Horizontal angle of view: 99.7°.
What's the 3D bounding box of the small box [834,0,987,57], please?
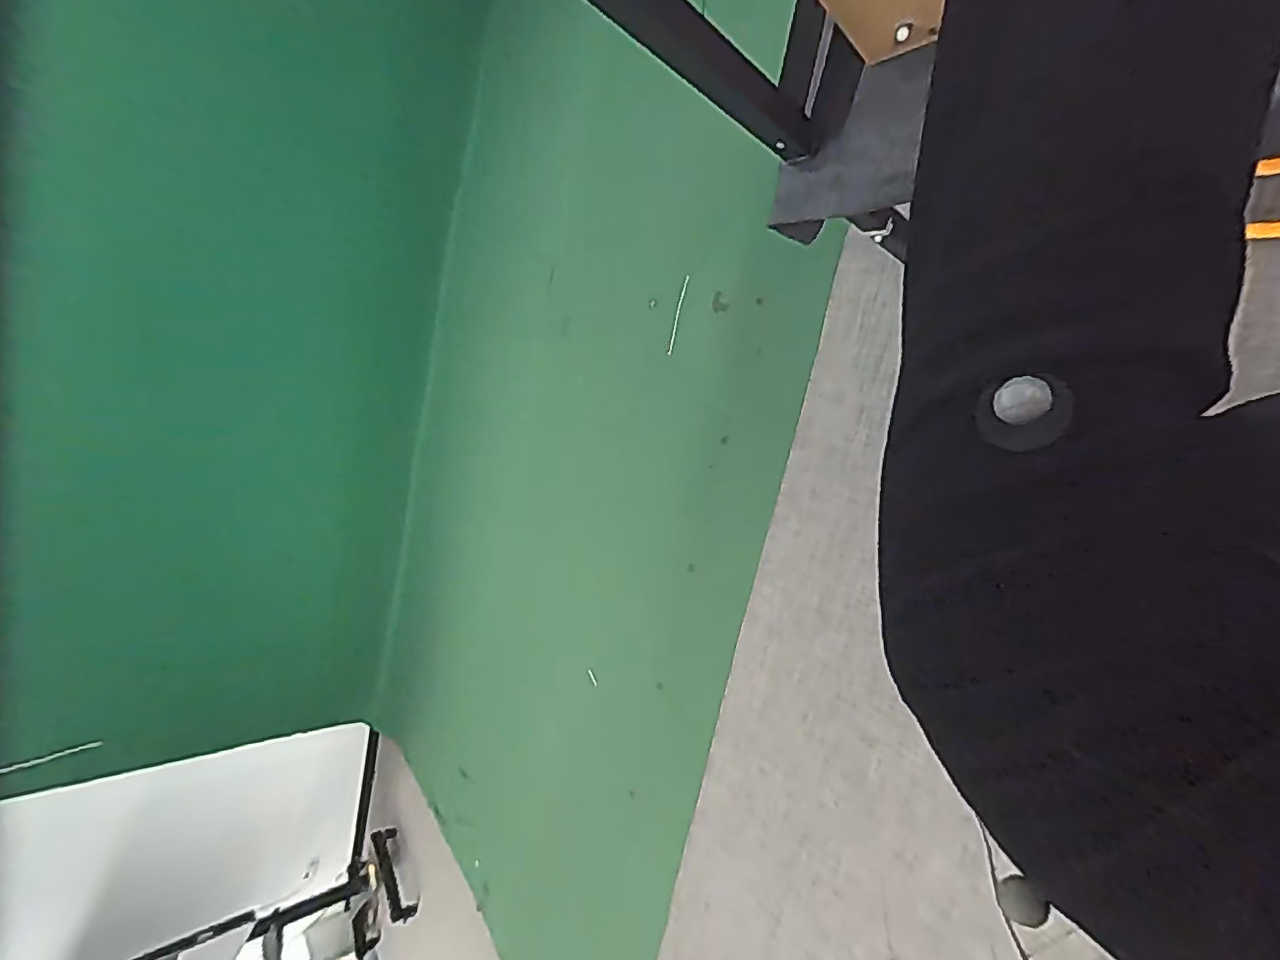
[{"bbox_3d":[0.370,-0.731,0.726,0.168,0.176,0.179,17,100,47],"label":"small box"}]
